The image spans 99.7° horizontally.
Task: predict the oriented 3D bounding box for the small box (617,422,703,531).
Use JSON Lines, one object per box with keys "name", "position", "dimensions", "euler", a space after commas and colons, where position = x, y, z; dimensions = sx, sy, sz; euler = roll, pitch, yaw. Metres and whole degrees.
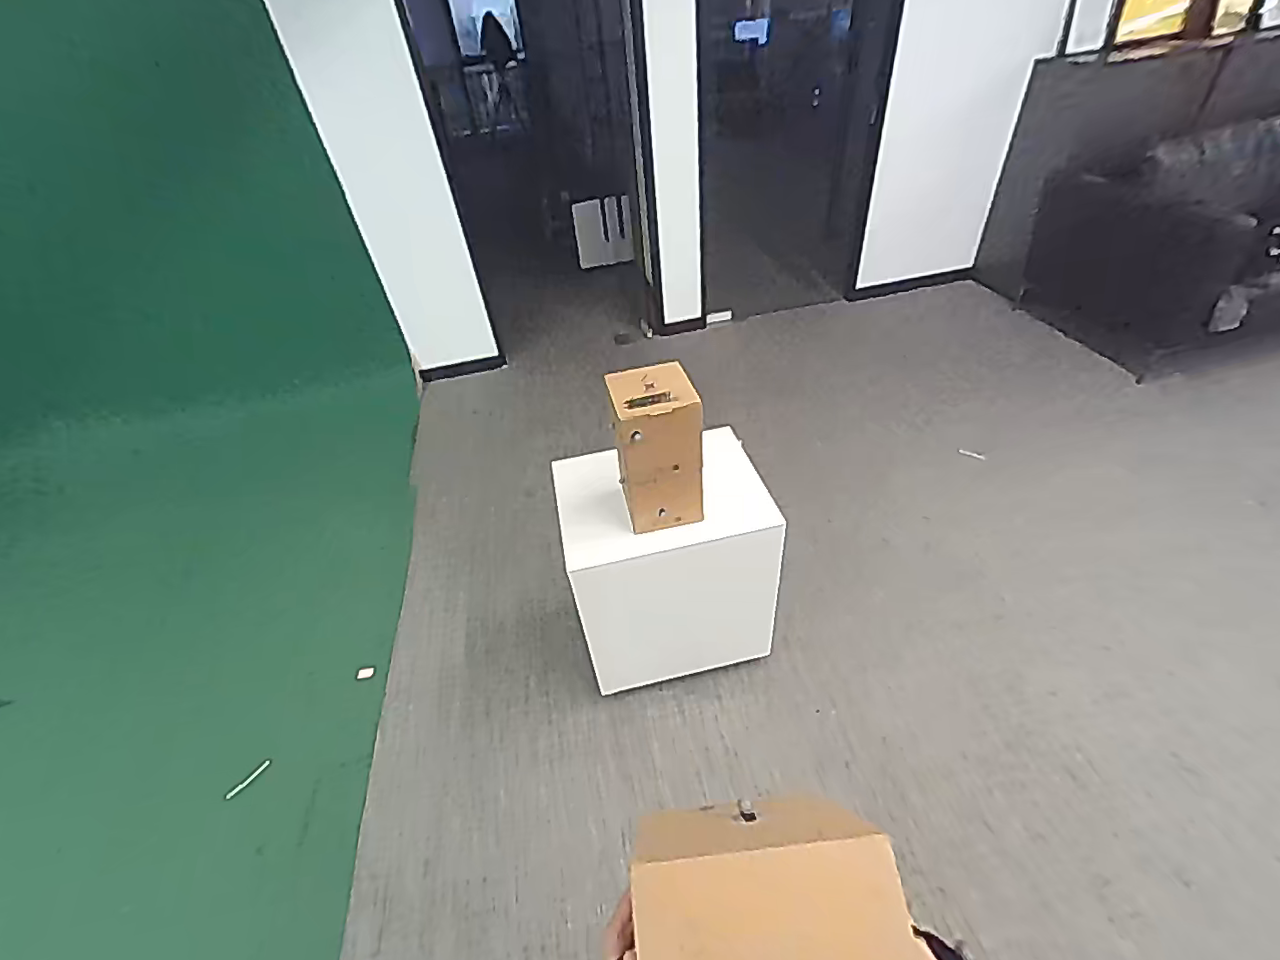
{"name": "small box", "position": [0.045, -0.008, 1.252], "dimensions": [0.168, 0.176, 0.179], "euler": [-11, 40, -5]}
